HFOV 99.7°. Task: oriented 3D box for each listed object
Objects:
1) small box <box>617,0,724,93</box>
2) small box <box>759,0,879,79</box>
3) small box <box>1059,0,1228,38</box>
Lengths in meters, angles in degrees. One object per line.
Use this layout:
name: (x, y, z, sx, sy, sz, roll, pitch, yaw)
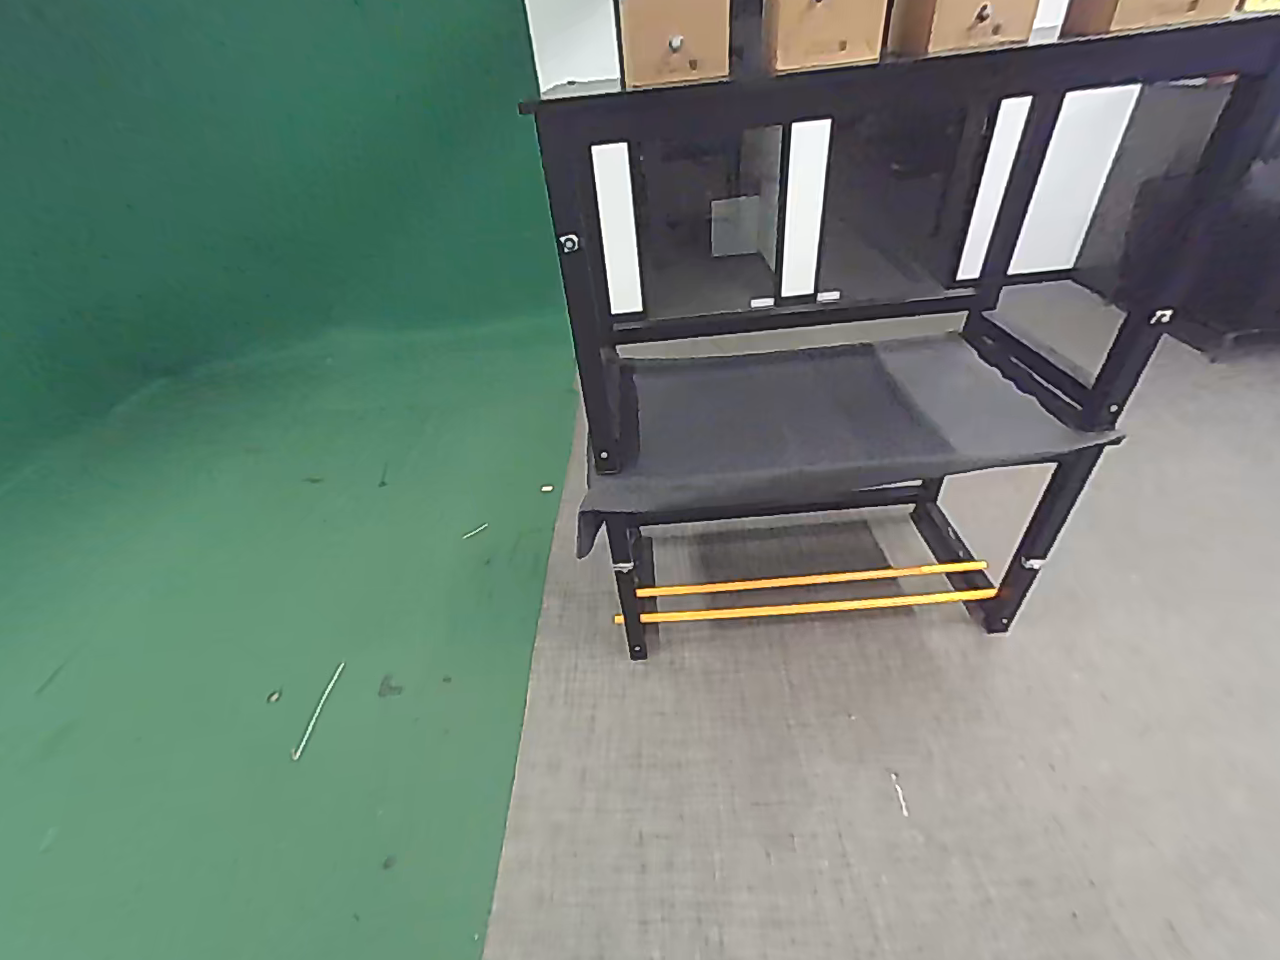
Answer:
small box: (0.048, -0.774, 0.927, 0.168, 0.176, 0.179, -8, 38, 0)
small box: (0.292, -0.782, 0.898, 0.168, 0.176, 0.179, -4, 37, 5)
small box: (0.804, -0.810, 0.842, 0.168, 0.176, 0.179, 1, 38, 11)
